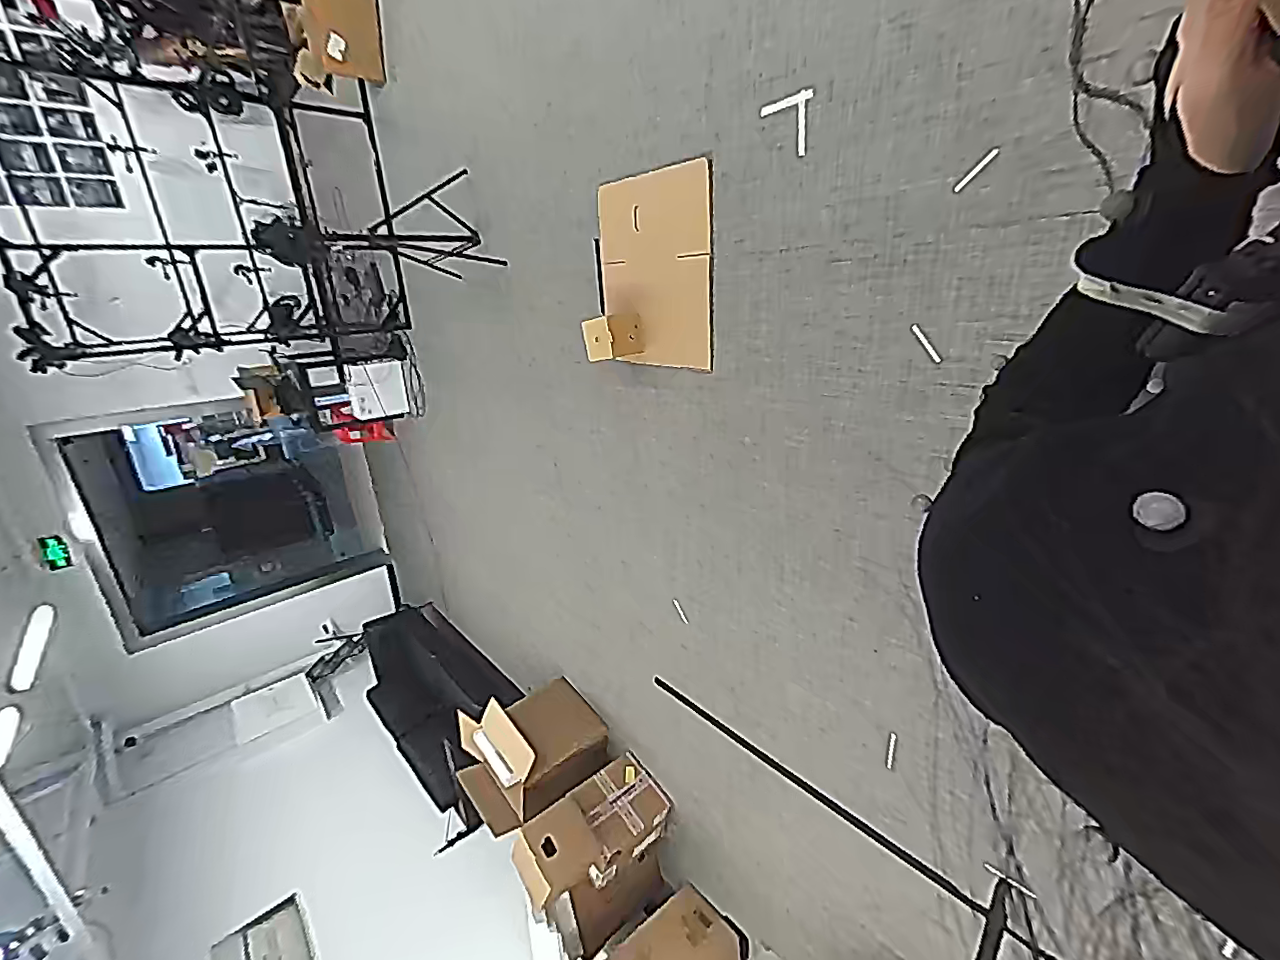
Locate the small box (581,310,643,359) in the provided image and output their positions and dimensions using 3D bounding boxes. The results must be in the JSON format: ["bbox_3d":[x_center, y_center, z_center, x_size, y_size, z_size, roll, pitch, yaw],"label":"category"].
[{"bbox_3d":[-0.113,-0.597,2.223,0.179,0.176,0.168,5,111,50],"label":"small box"}]
